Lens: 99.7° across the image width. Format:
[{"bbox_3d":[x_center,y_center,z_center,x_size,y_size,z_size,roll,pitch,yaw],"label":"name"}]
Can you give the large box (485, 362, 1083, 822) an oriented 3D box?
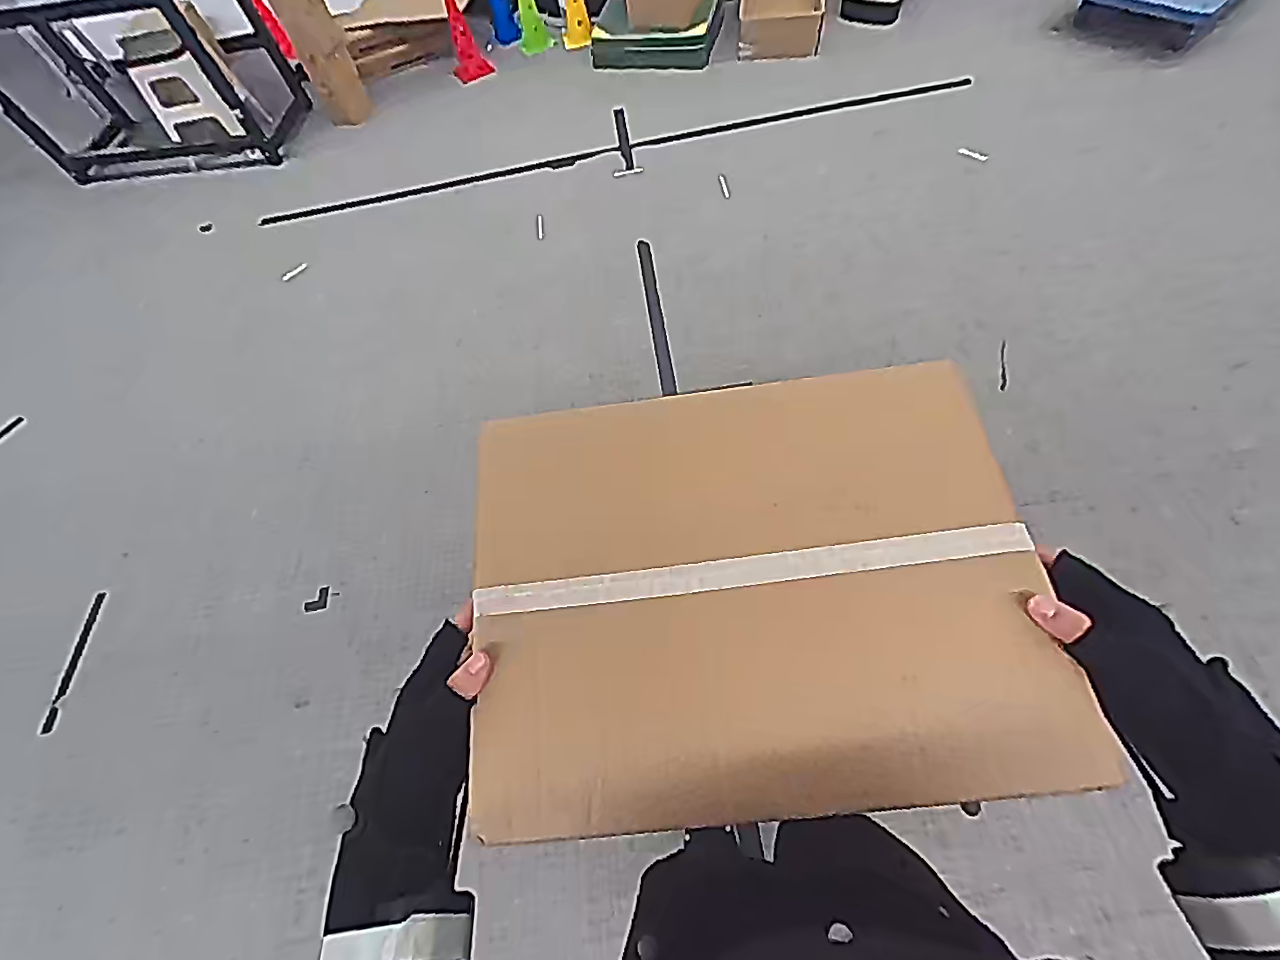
[{"bbox_3d":[0.092,0.120,0.550,0.408,0.320,0.320,-7,66,3],"label":"large box"}]
